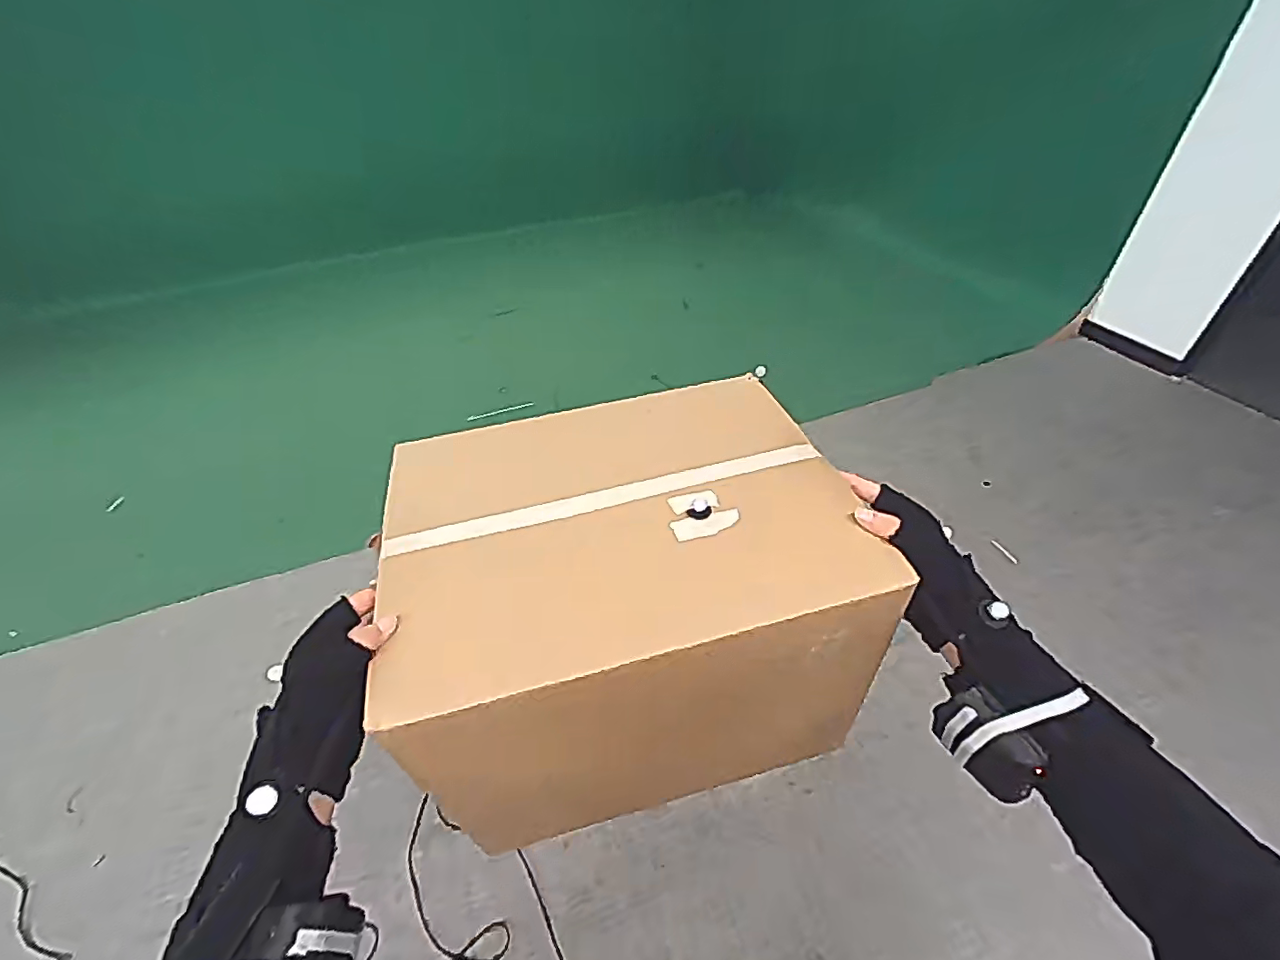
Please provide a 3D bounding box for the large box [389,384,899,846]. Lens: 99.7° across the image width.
[{"bbox_3d":[-0.014,0.135,0.602,0.408,0.320,0.320,-12,43,-9],"label":"large box"}]
